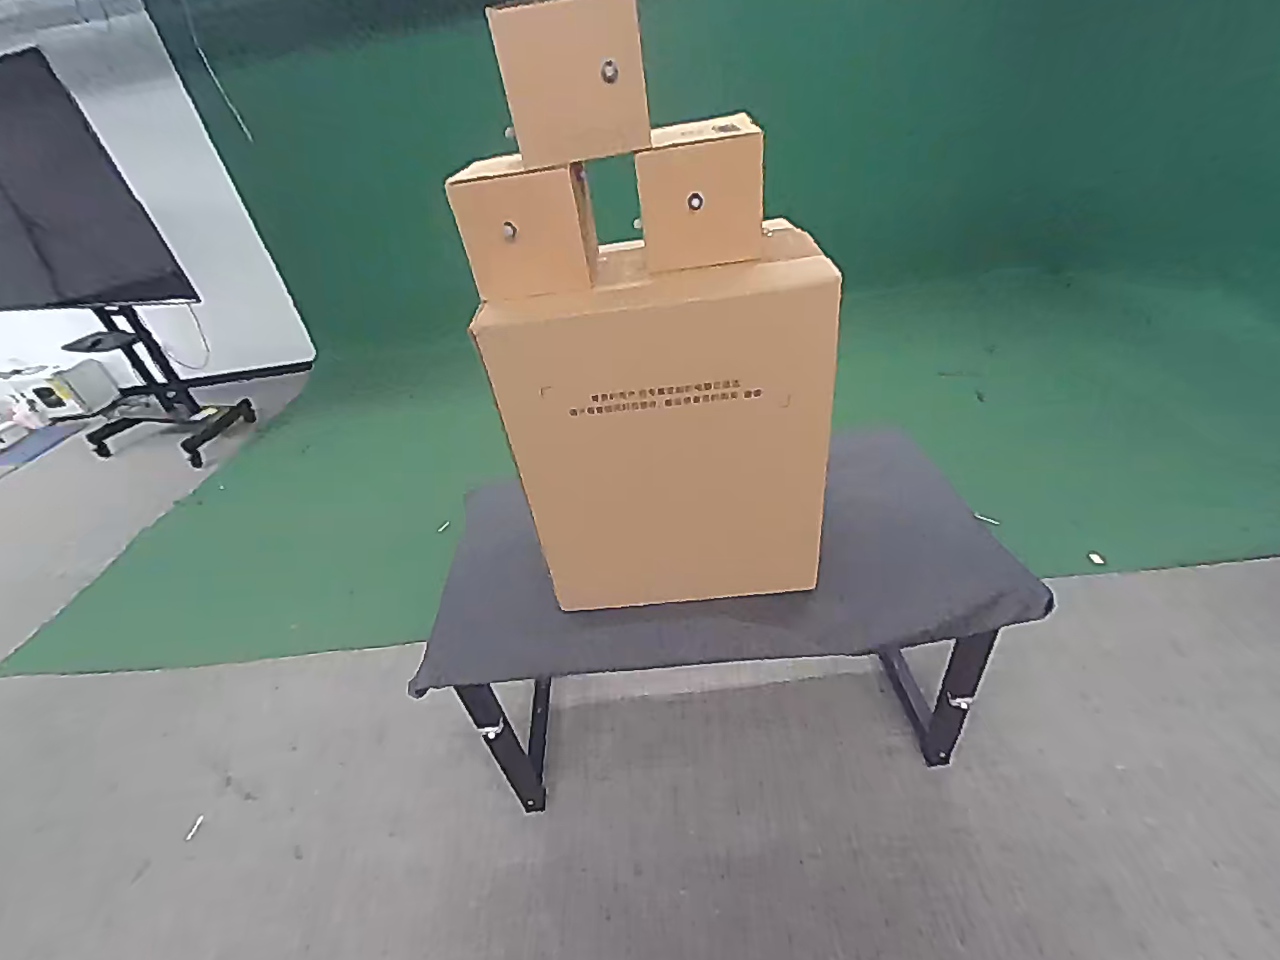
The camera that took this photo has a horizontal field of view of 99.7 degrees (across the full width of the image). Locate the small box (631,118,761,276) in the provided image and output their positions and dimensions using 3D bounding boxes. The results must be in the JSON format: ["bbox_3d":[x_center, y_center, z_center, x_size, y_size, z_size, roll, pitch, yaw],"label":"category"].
[{"bbox_3d":[0.087,-0.434,0.833,0.179,0.176,0.168,-6,40,7],"label":"small box"}]

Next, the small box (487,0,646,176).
[{"bbox_3d":[-0.092,-0.530,0.734,0.179,0.176,0.168,-13,38,-2],"label":"small box"}]

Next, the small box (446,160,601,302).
[{"bbox_3d":[-0.167,-0.390,0.839,0.179,0.176,0.168,-5,40,6],"label":"small box"}]
